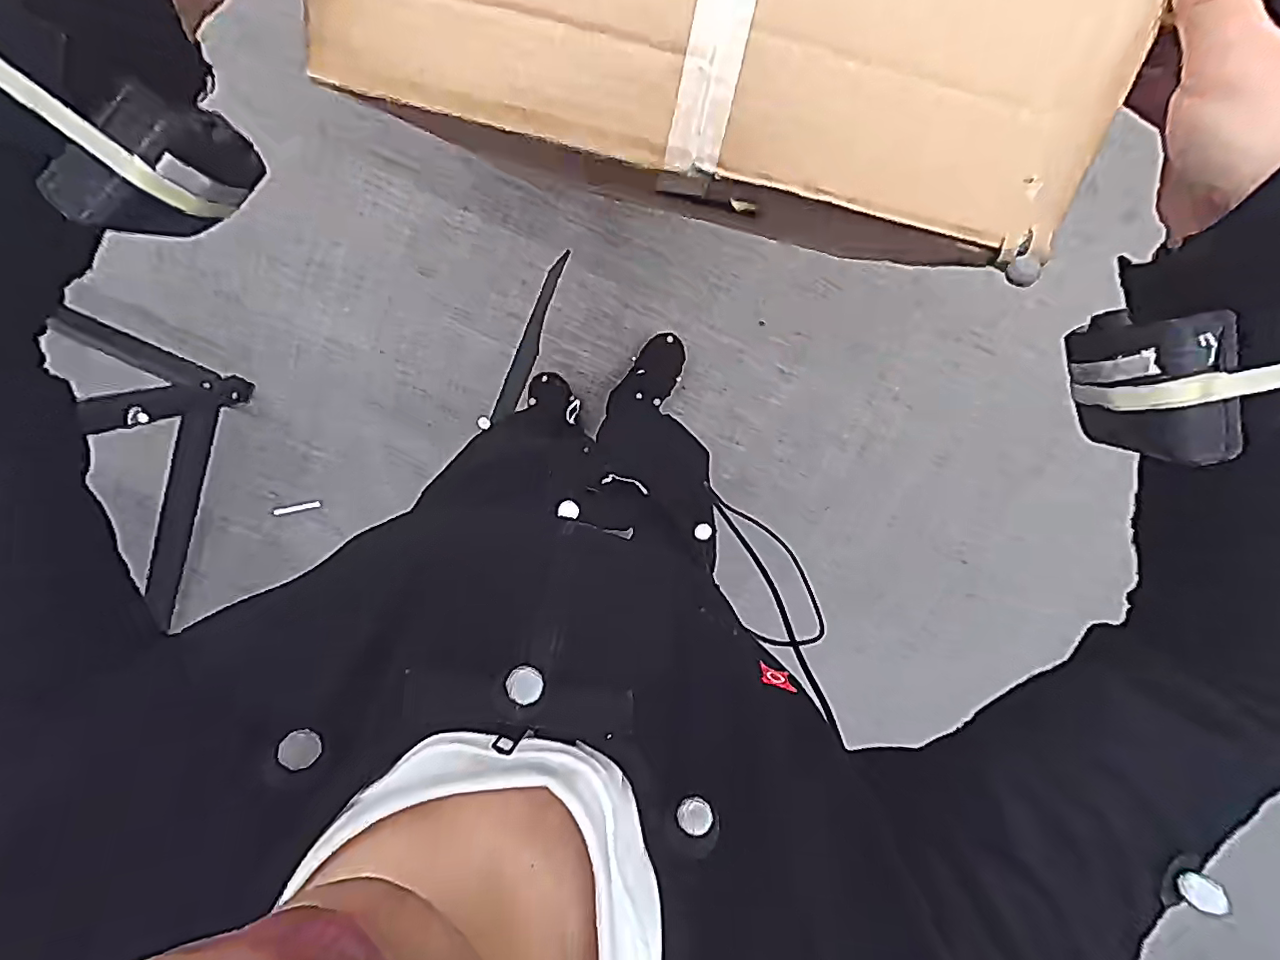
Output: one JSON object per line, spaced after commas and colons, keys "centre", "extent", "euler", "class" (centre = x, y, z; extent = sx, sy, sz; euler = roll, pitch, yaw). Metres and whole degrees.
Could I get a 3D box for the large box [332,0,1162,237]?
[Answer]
{"centre": [0.070, -0.372, 0.276], "extent": [0.320, 0.320, 0.408], "euler": [12, 114, -2], "class": "large box"}
